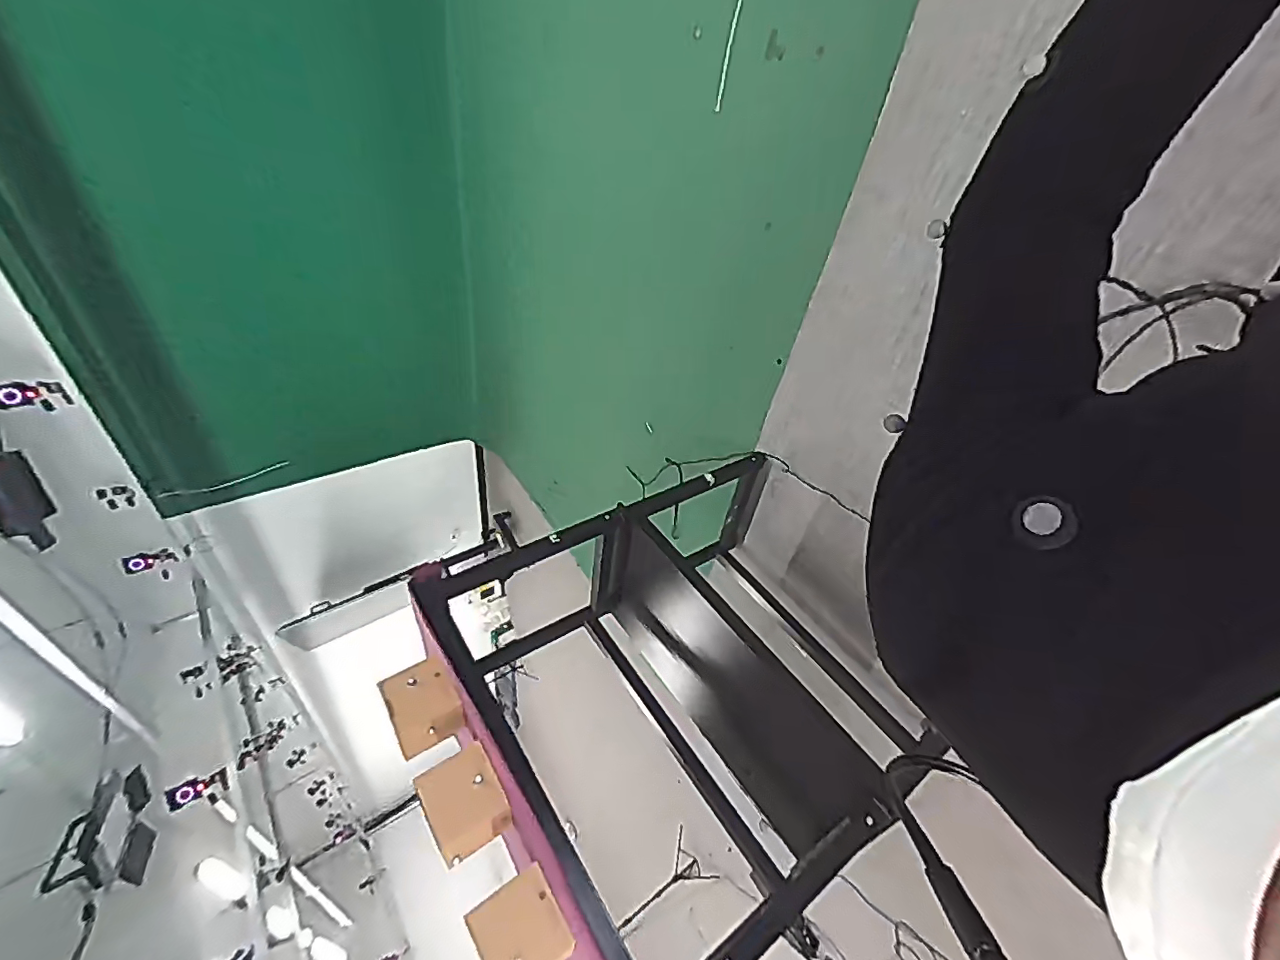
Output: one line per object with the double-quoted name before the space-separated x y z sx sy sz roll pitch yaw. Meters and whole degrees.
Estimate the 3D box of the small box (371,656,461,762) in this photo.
"small box" -0.590 0.604 1.441 0.168 0.176 0.179 49 144 30

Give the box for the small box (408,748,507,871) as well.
"small box" -0.429 0.772 1.286 0.179 0.176 0.168 47 144 34
